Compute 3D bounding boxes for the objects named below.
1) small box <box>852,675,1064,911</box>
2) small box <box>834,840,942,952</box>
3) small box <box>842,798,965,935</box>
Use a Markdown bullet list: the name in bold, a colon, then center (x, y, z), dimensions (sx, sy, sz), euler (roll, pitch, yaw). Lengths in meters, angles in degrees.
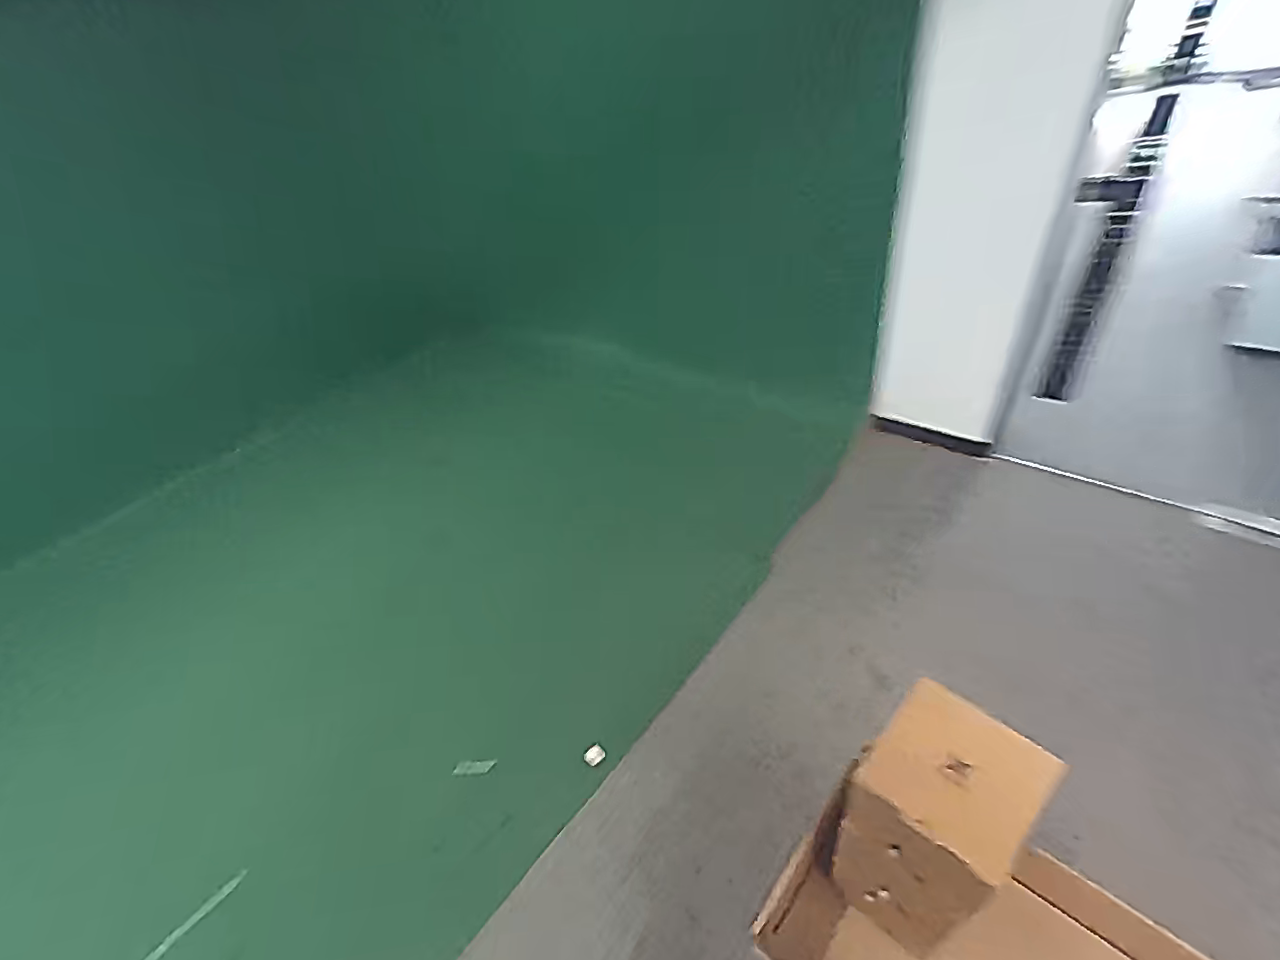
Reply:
- **small box**: center (0.393, 0.400, 0.698), dimensions (0.179, 0.176, 0.168), euler (-37, 47, -24)
- **small box**: center (0.444, 0.639, 0.914), dimensions (0.168, 0.176, 0.179), euler (28, 55, 37)
- **small box**: center (0.418, 0.518, 0.805), dimensions (0.179, 0.176, 0.168), euler (-38, 46, -25)
